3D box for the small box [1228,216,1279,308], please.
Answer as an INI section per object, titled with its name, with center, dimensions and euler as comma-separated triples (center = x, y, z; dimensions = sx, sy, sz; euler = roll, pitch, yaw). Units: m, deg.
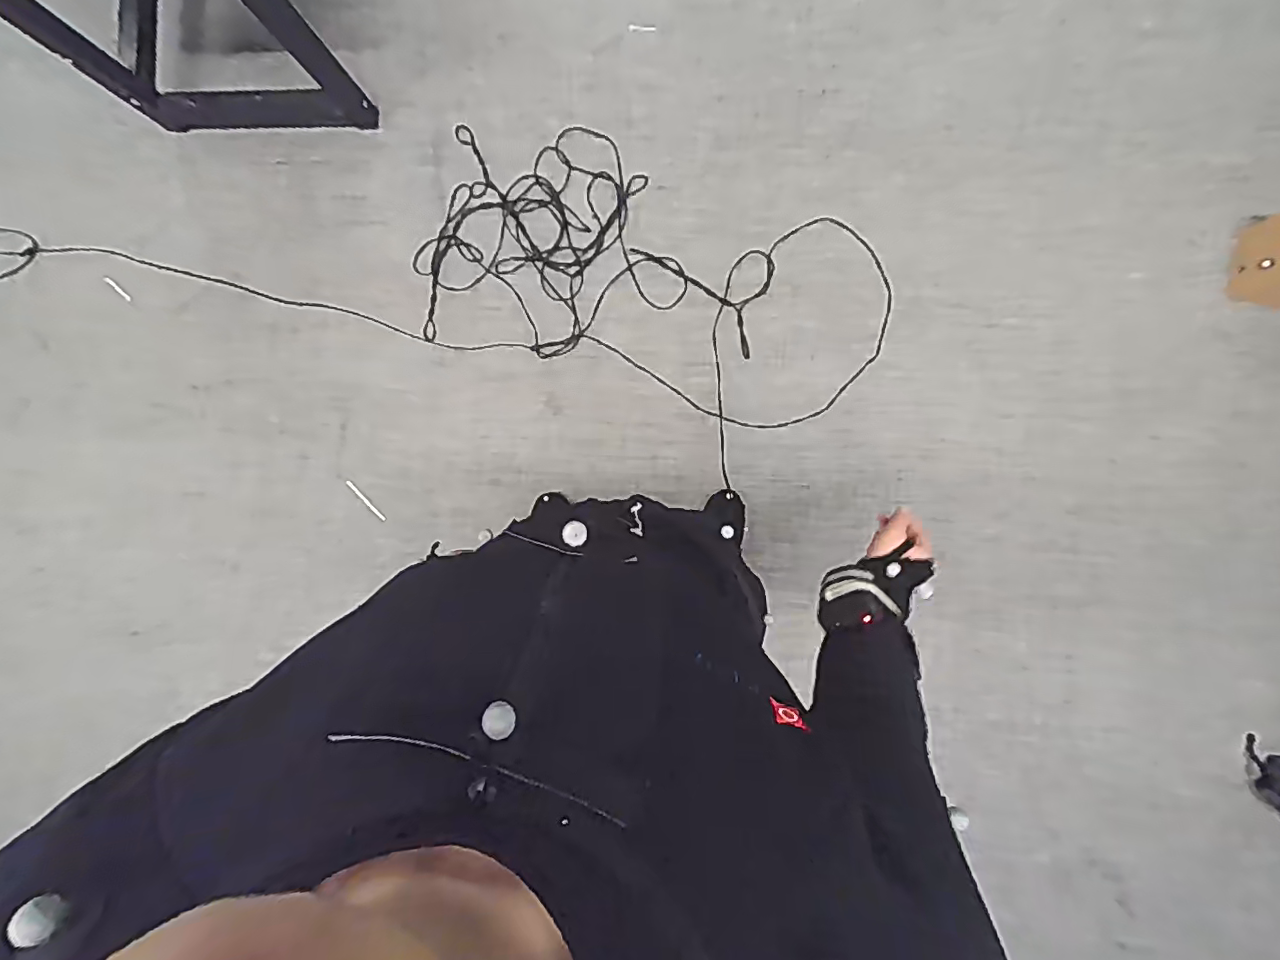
[small box]
center = 1.476, -0.490, 1.189
dimensions = 0.179, 0.176, 0.168
euler = 12, 93, 2
